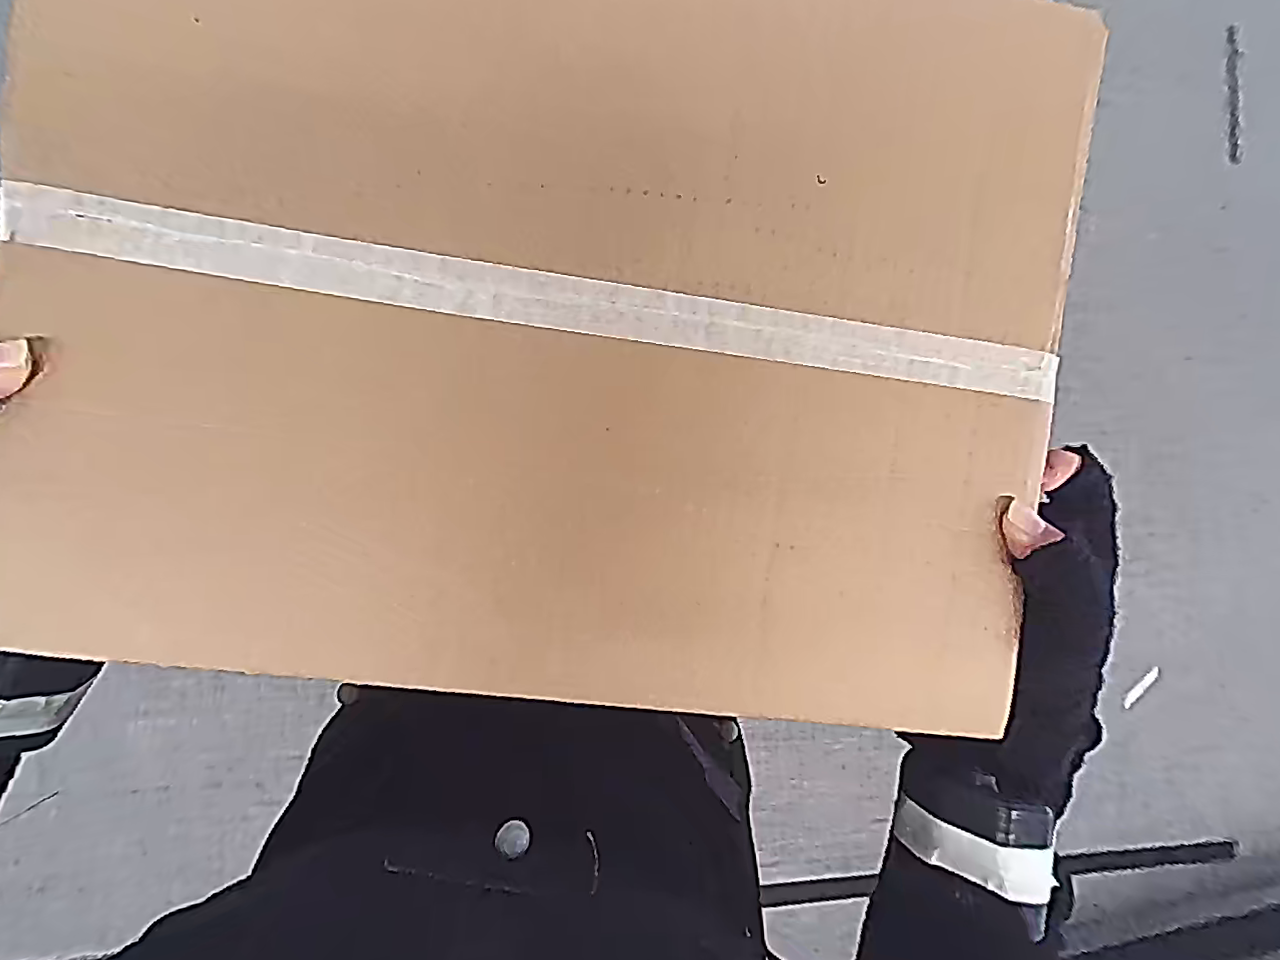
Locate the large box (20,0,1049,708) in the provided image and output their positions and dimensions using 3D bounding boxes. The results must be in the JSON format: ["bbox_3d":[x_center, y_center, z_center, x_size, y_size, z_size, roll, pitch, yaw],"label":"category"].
[{"bbox_3d":[-0.041,-0.072,0.374,0.408,0.320,0.320,7,90,-6],"label":"large box"}]
